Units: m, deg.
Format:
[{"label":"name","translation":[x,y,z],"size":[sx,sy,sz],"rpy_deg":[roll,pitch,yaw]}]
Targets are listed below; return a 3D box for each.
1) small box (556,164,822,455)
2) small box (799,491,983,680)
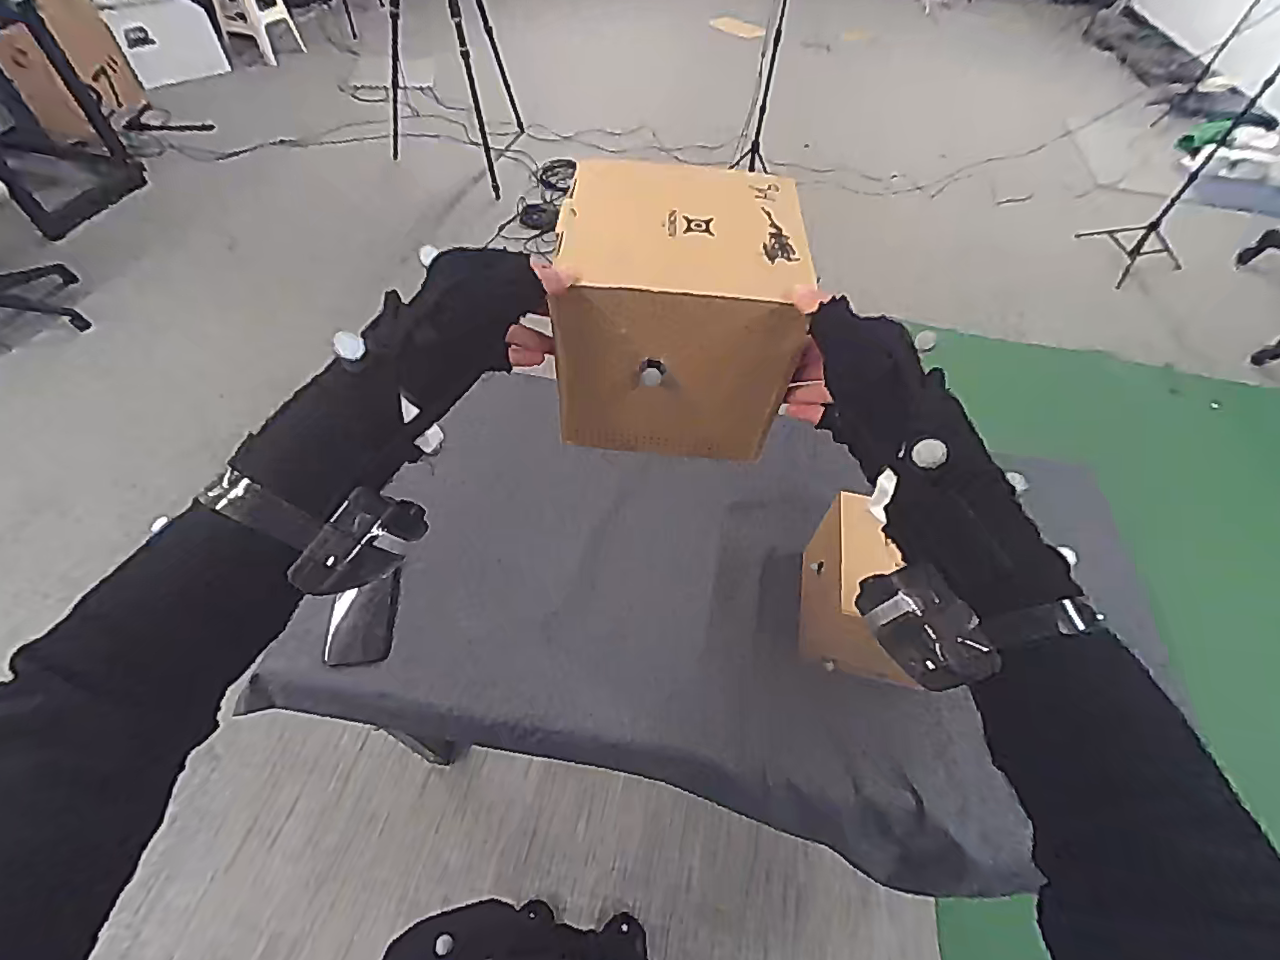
[{"label":"small box","translation":[0.033,-0.136,0.457],"size":[0.179,0.176,0.168],"rpy_deg":[5,55,-1]},{"label":"small box","translation":[0.318,0.146,0.723],"size":[0.168,0.176,0.179],"rpy_deg":[12,52,5]}]
